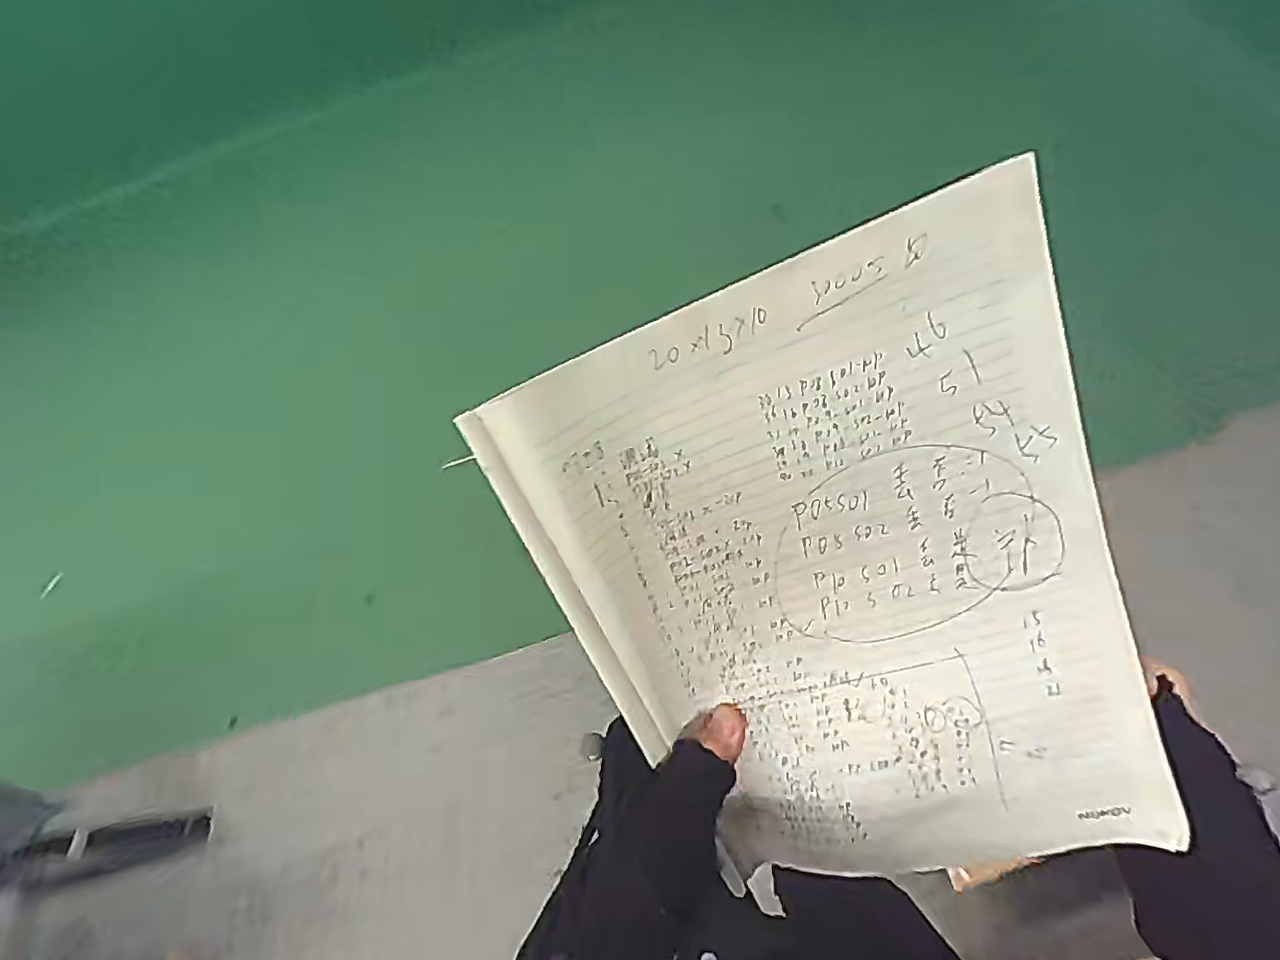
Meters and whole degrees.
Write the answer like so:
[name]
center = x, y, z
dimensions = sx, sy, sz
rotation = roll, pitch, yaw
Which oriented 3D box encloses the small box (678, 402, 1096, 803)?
[small box]
center = 0.136, 0.062, 0.340
dimensions = 0.168, 0.176, 0.179
rotation = -14, 100, 16
